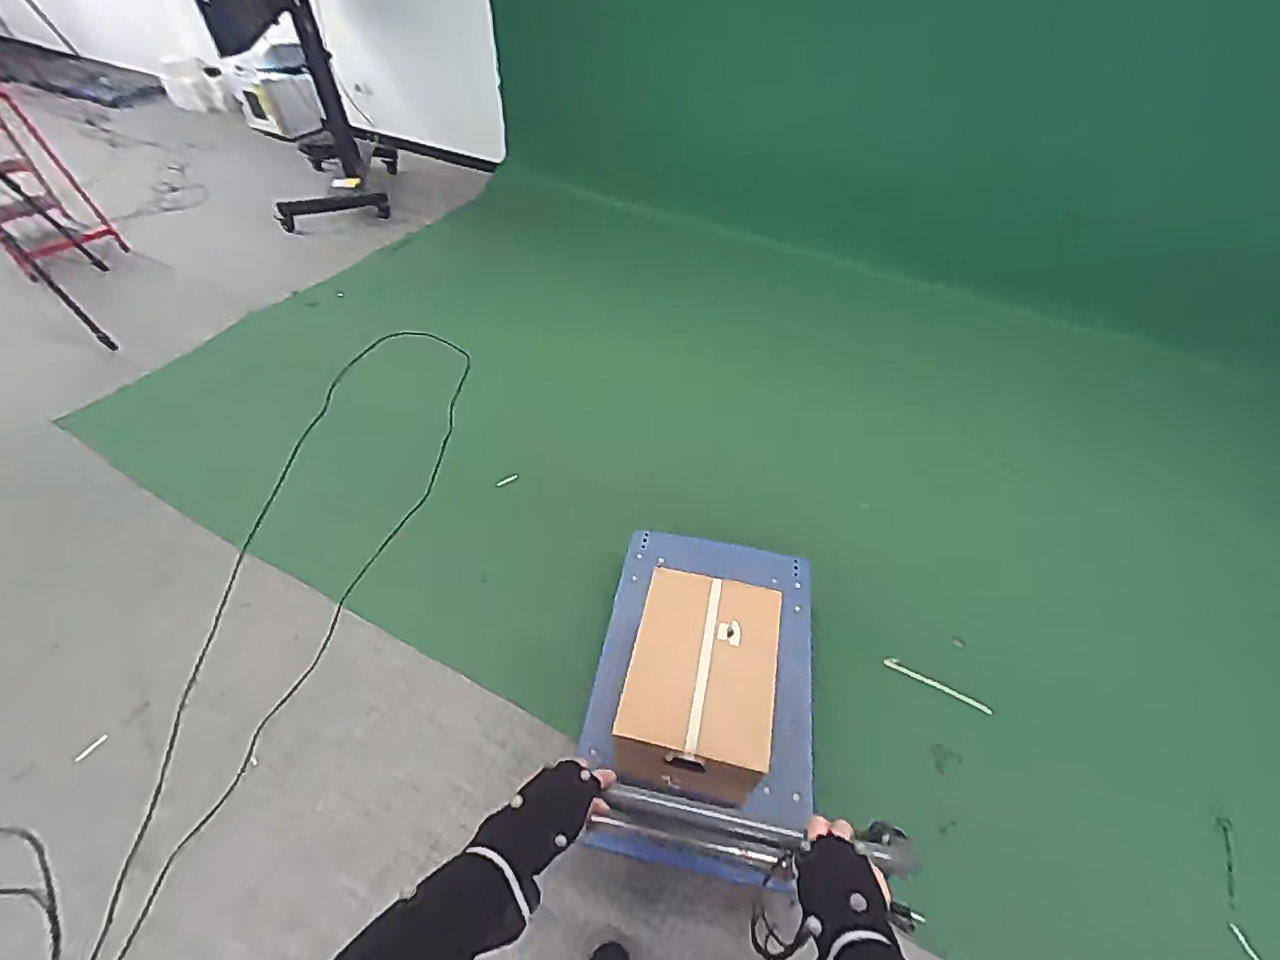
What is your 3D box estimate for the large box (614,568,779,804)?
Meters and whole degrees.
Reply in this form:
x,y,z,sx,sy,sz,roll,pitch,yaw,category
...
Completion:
x,y,z,sx,sy,sz,roll,pitch,yaw,category
0.135,0.483,1.280,0.320,0.320,0.408,11,49,8,large box
